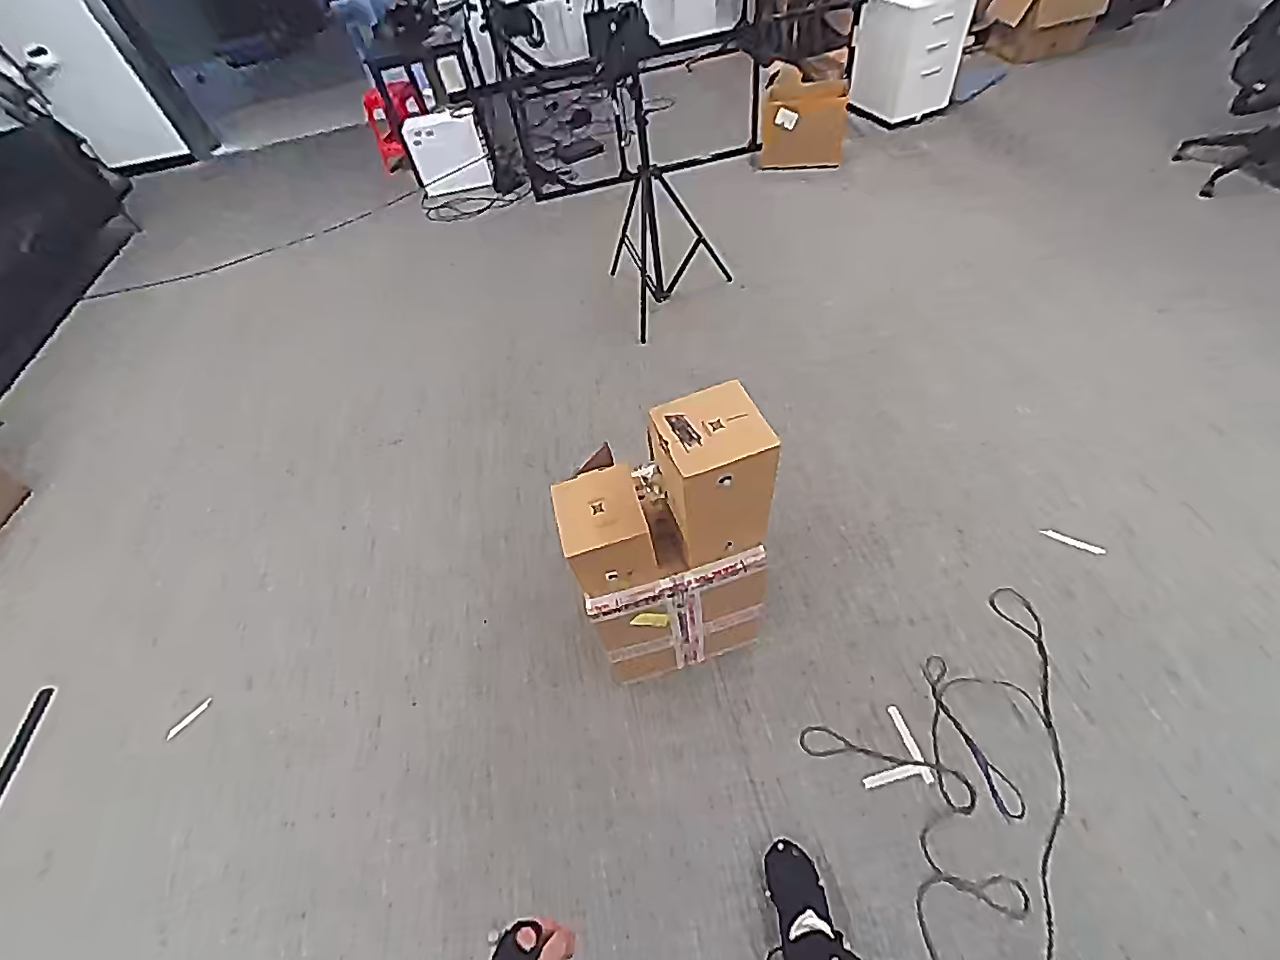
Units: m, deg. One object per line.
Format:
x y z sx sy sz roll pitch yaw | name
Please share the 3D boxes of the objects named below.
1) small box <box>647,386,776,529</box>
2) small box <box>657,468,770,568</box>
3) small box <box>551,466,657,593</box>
0.128 -0.036 0.983 0.179 0.176 0.168 -20 55 -7 | small box
0.146 0.055 1.120 0.179 0.176 0.168 -20 55 -7 | small box
-0.071 0.105 1.115 0.168 0.176 0.179 -18 55 -2 | small box
